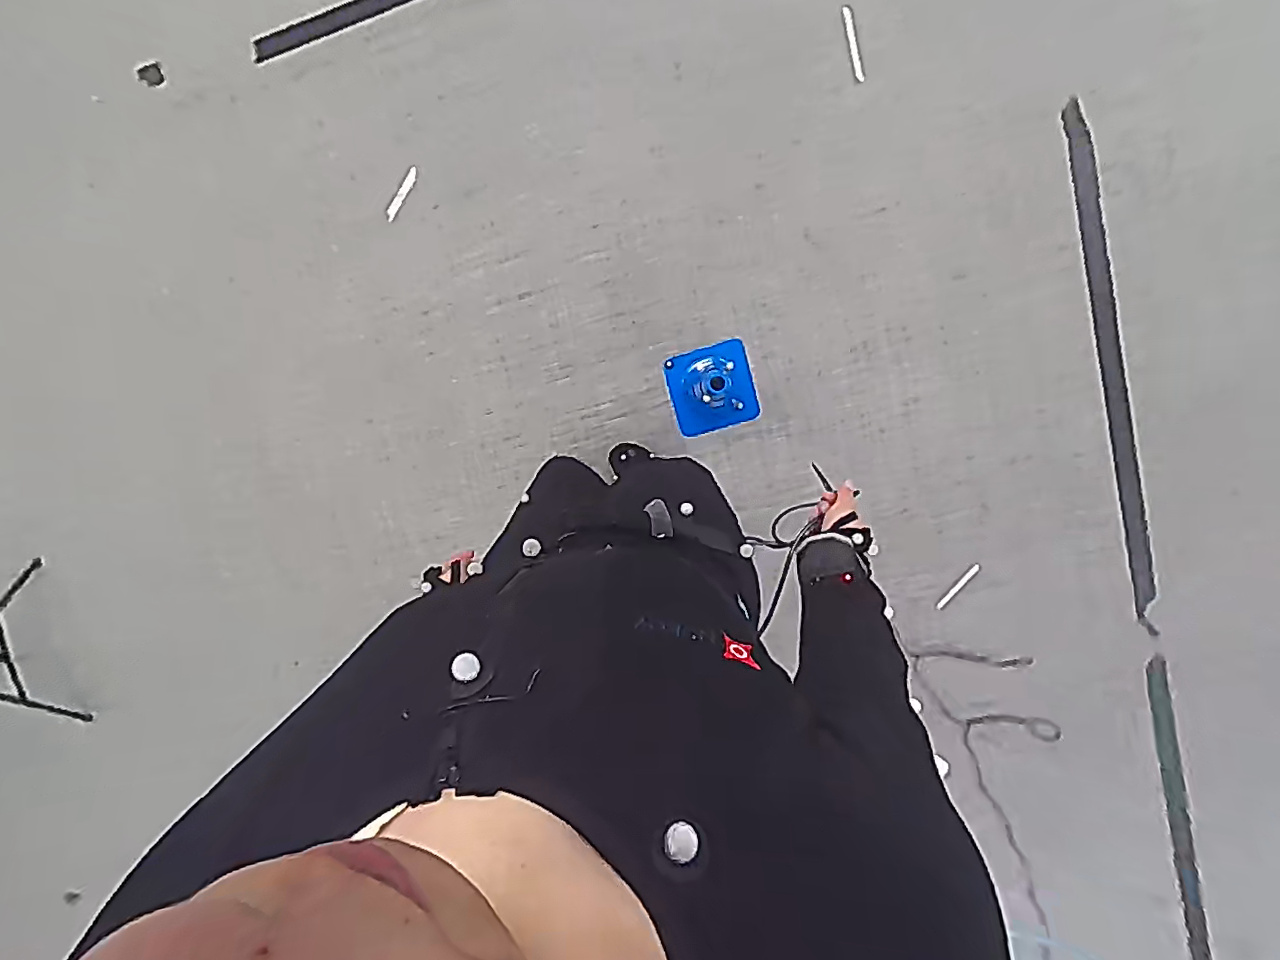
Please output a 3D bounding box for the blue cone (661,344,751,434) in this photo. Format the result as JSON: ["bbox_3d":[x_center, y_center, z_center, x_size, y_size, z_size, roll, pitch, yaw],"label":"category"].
[{"bbox_3d":[0.144,-0.196,1.140,0.192,0.380,0.193,-14,96,8],"label":"blue cone"}]
